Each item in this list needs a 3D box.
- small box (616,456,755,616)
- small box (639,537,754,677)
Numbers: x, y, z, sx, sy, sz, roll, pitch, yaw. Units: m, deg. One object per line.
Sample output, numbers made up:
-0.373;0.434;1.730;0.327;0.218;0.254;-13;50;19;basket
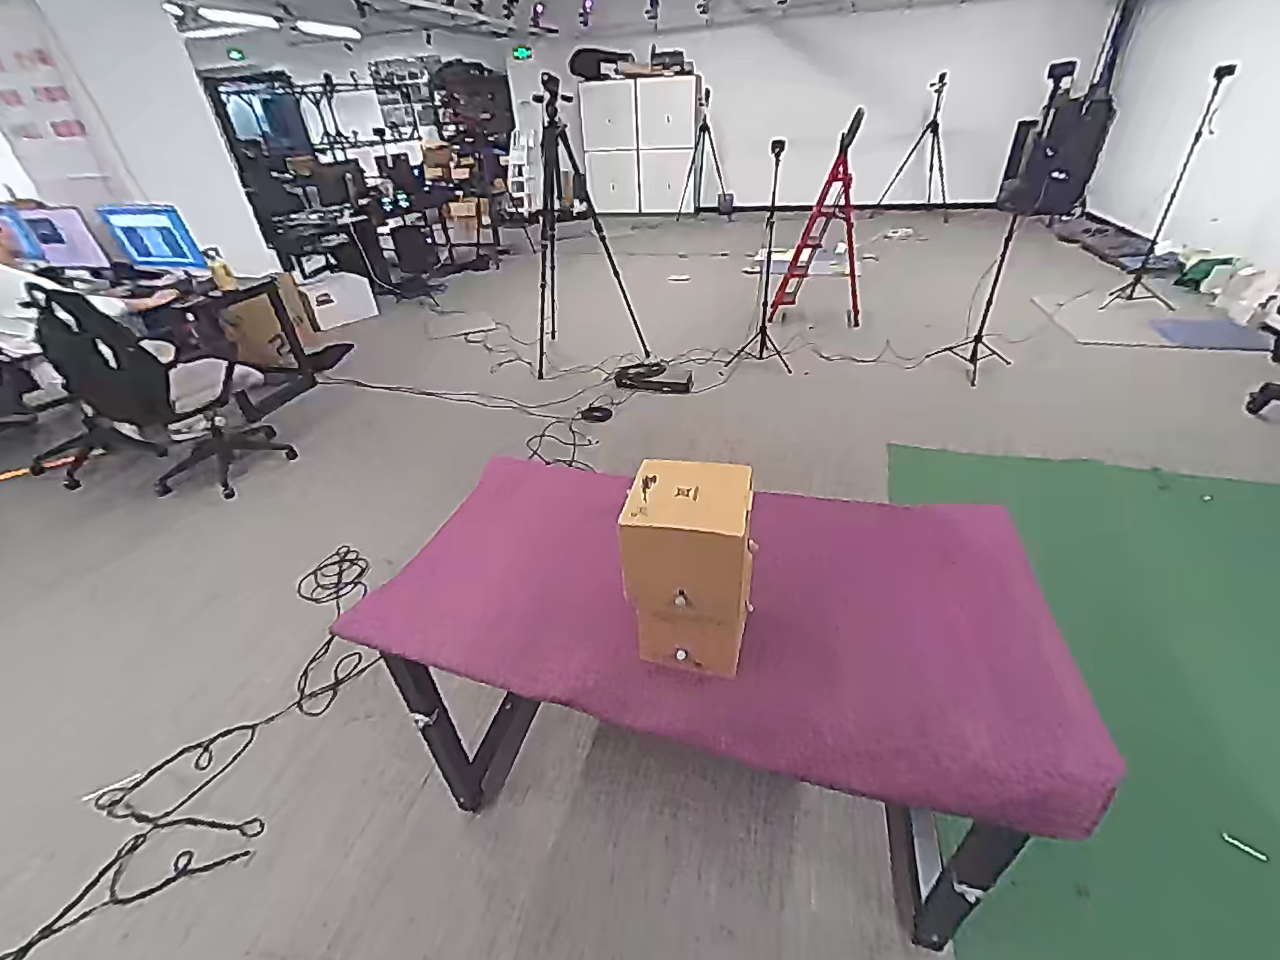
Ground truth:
0.074;0.083;0.818;0.179;0.176;0.168;5;36;13;small box
0.098;0.204;0.930;0.168;0.176;0.179;7;36;16;small box
